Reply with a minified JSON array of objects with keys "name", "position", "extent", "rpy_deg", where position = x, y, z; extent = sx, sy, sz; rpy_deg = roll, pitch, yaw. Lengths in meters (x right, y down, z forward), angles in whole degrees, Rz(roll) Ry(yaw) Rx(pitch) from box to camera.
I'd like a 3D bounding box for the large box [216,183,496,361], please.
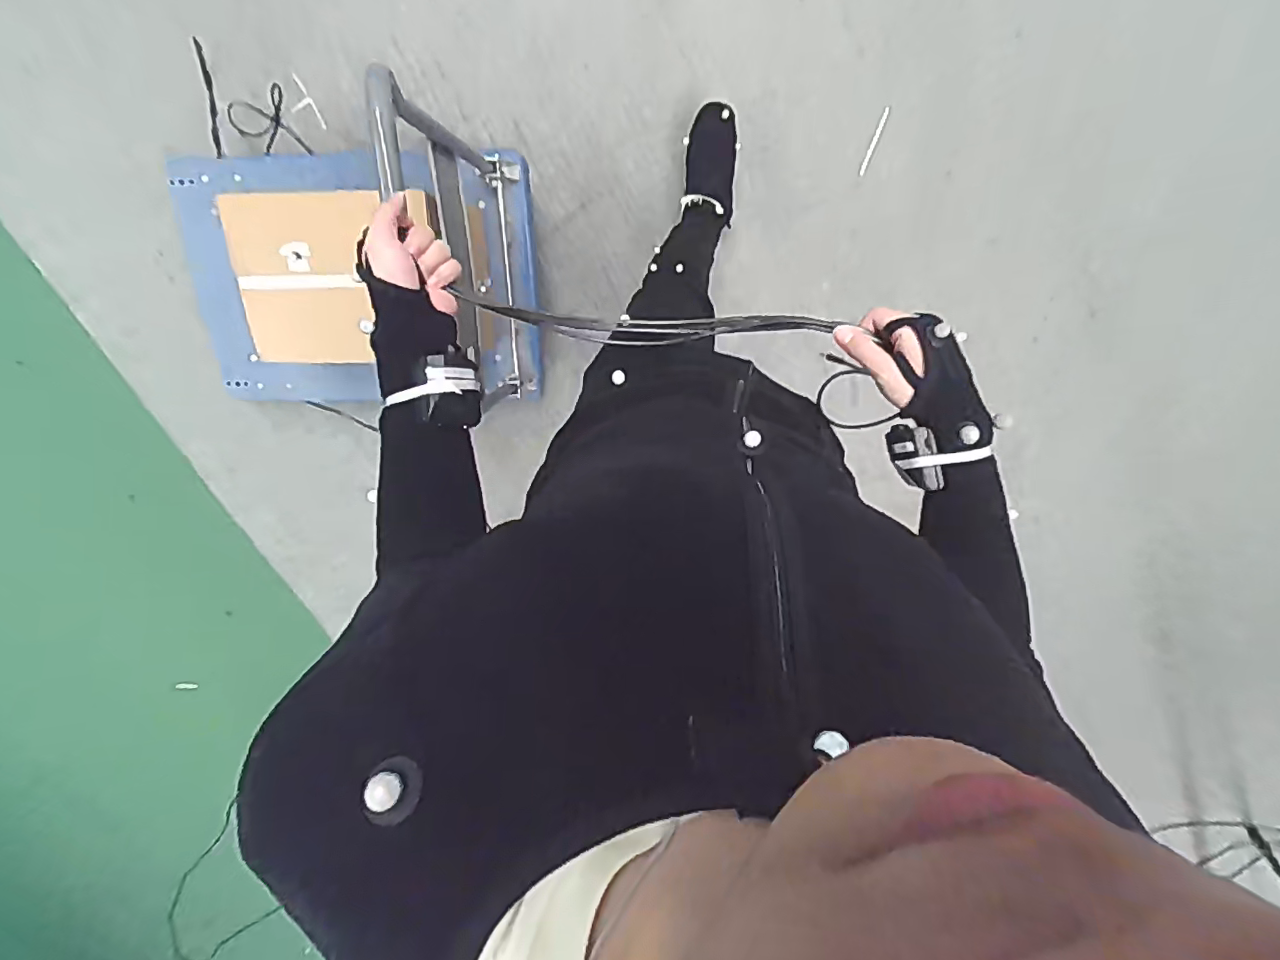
[{"name":"large box","position":[-0.570,-0.441,1.172],"extent":[0.408,0.320,0.320],"rpy_deg":[1,111,5]}]
